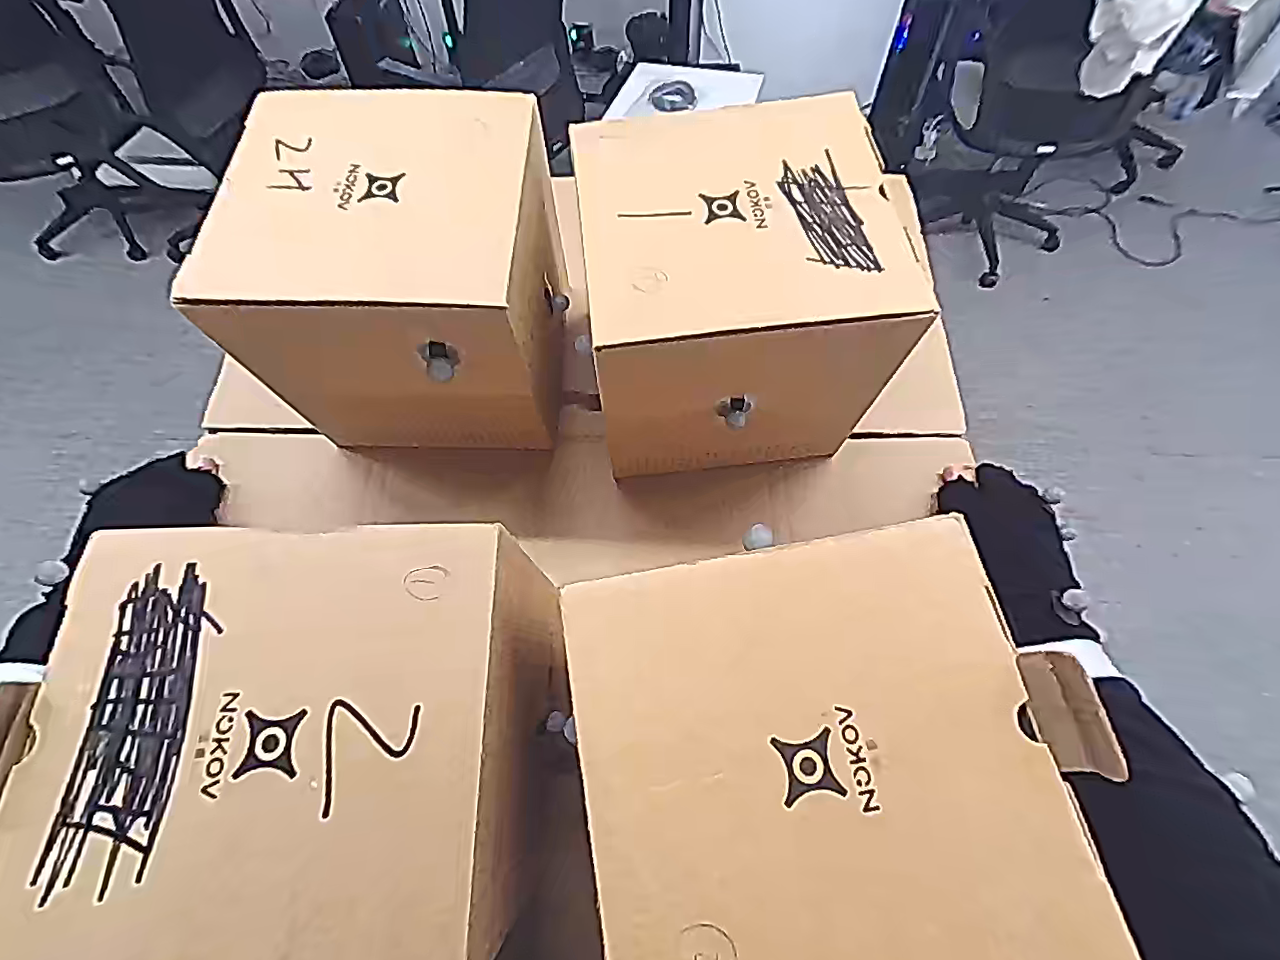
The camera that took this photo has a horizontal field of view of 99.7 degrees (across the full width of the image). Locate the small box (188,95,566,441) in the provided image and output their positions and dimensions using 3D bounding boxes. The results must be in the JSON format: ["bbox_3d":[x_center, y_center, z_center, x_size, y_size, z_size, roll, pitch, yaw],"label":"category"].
[{"bbox_3d":[-0.153,-0.138,0.392,0.179,0.176,0.168,2,67,1],"label":"small box"}]
